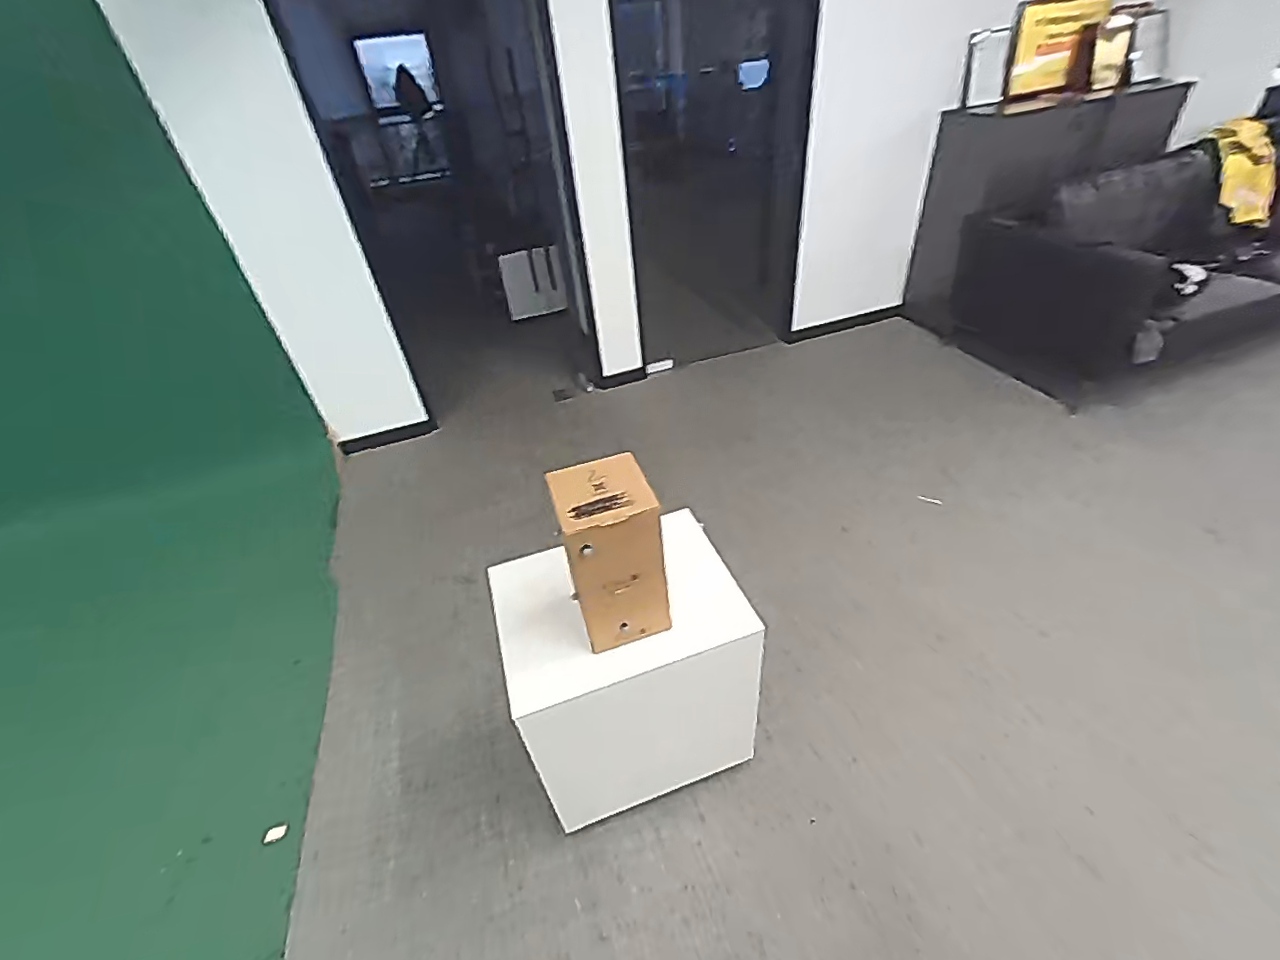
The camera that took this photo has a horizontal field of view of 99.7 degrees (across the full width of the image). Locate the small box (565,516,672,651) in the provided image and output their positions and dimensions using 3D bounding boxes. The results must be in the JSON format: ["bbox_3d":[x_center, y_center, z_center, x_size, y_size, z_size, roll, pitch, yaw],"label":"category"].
[{"bbox_3d":[-0.042,0.205,1.082,0.168,0.176,0.179,-16,38,-11],"label":"small box"}]
